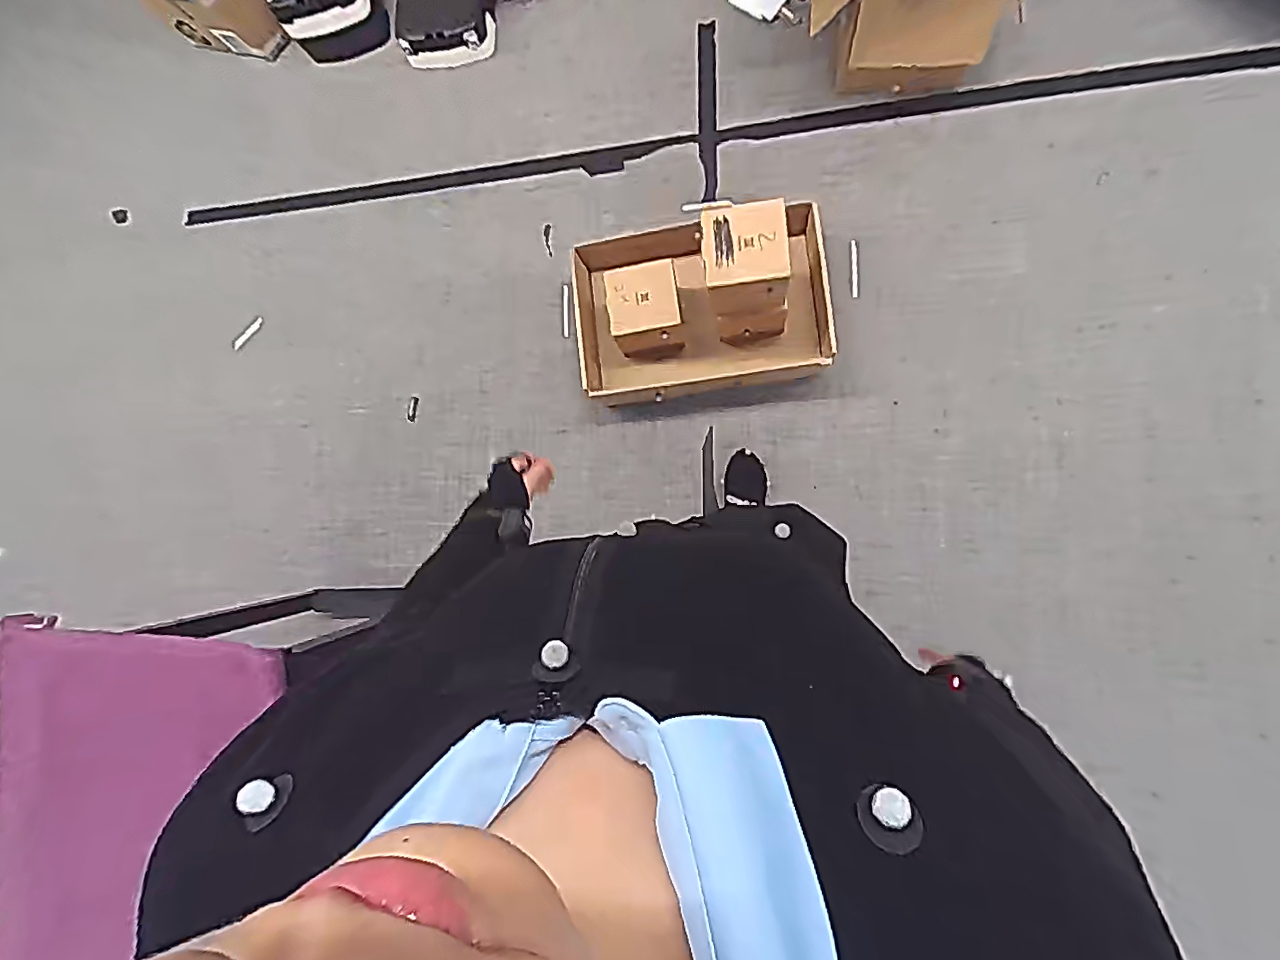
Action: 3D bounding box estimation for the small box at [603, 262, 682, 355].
[{"bbox_3d":[0.014,-0.436,1.398,0.179,0.176,0.168,-8,85,8],"label":"small box"}]

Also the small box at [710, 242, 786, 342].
[{"bbox_3d":[0.269,-0.464,1.357,0.168,0.176,0.179,-6,87,11],"label":"small box"}]
